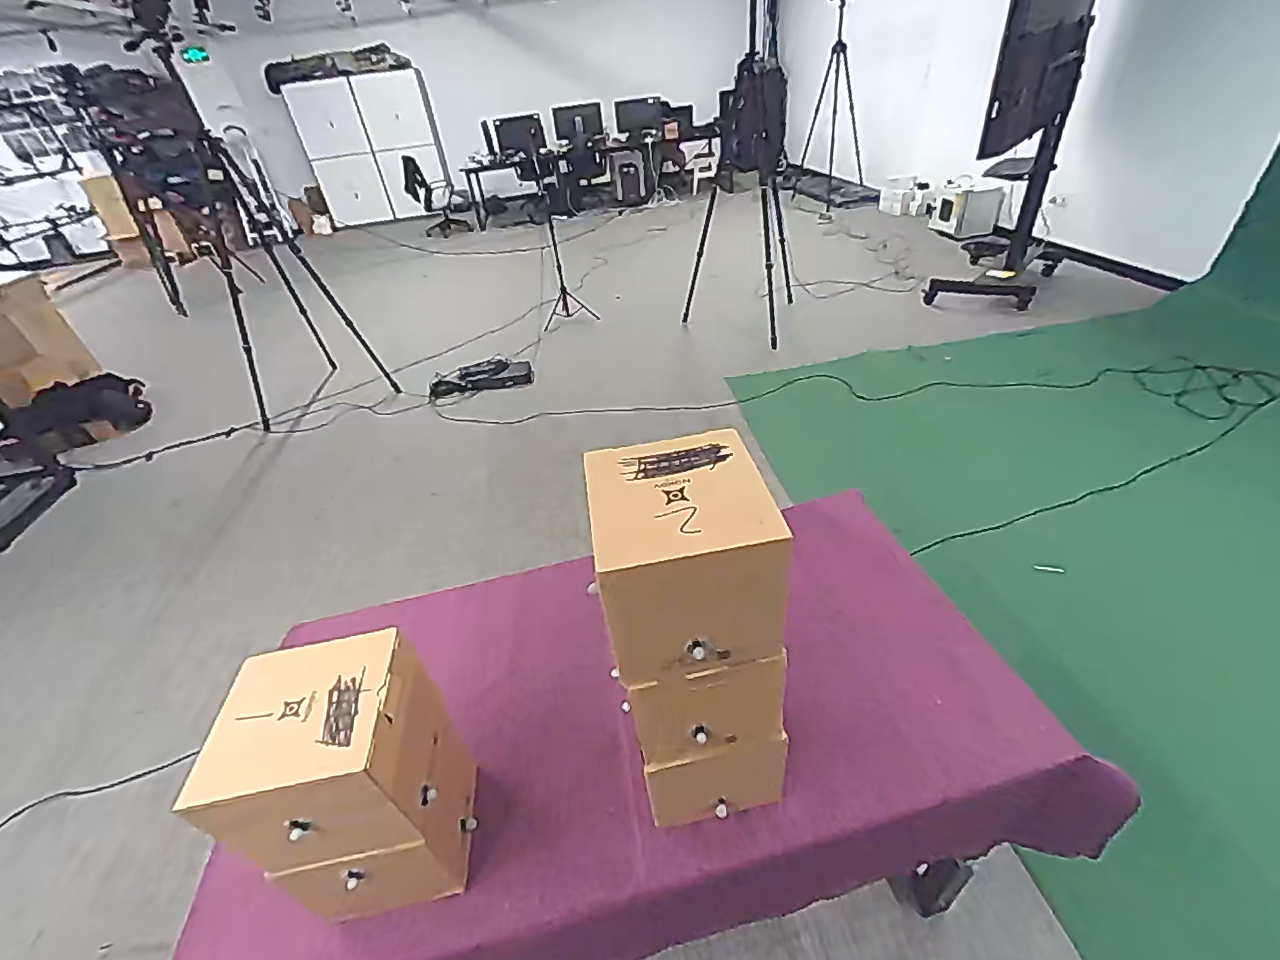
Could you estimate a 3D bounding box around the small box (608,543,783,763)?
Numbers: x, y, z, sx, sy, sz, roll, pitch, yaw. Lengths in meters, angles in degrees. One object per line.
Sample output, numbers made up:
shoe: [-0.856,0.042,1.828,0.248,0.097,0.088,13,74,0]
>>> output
small box: [0.060,0.207,0.658,0.168,0.176,0.179,-11,38,-4]

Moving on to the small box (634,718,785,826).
small box: [0.082,0.342,0.747,0.179,0.176,0.168,-11,37,-5]

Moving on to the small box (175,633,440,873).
small box: [-0.340,0.302,0.604,0.179,0.176,0.168,-11,38,-4]

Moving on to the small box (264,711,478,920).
small box: [-0.327,0.434,0.700,0.179,0.176,0.168,-10,38,-4]
